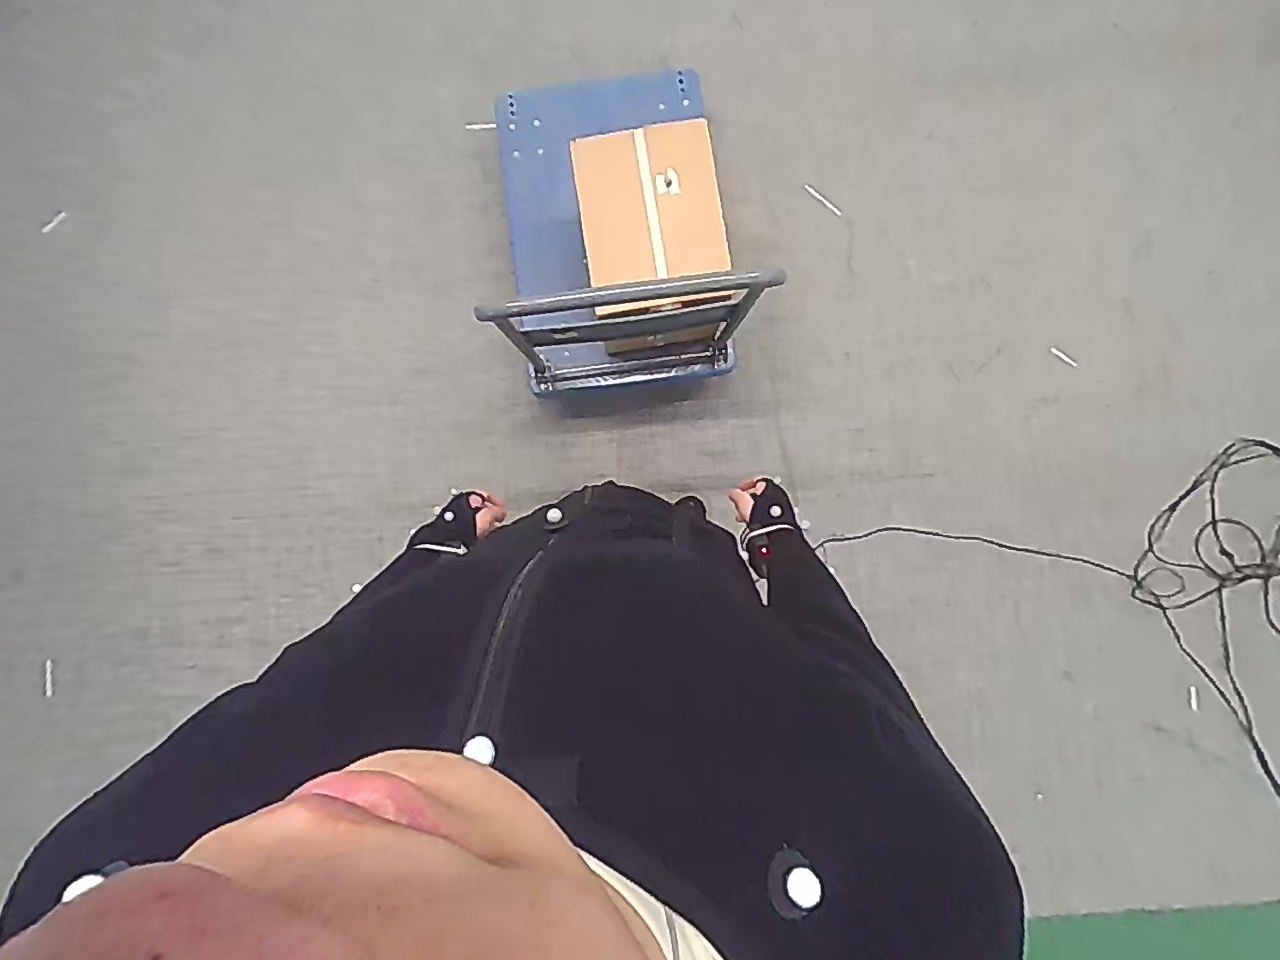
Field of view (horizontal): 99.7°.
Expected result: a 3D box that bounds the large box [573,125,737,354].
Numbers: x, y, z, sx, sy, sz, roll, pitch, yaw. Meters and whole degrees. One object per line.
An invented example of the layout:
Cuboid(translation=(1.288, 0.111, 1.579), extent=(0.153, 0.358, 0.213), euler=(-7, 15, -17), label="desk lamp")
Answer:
Cuboid(translation=(0.035, -0.570, 1.350), extent=(0.320, 0.320, 0.408), euler=(-9, 87, 0), label="large box")
